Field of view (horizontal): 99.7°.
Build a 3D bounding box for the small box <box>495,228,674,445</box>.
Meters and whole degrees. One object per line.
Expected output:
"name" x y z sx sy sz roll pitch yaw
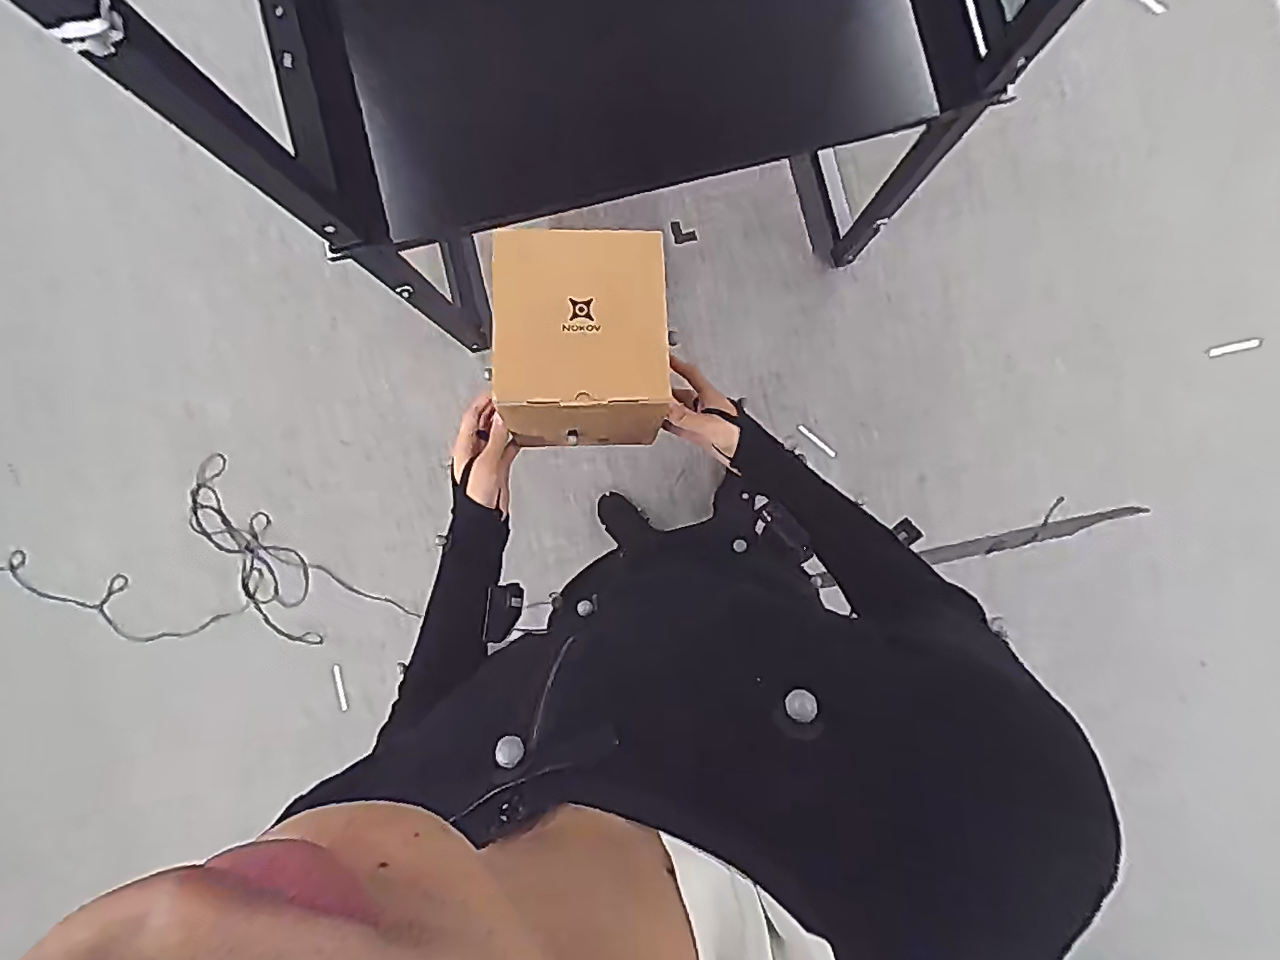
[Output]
"small box" -0.059 -0.141 0.583 0.168 0.176 0.179 -1 82 -5
